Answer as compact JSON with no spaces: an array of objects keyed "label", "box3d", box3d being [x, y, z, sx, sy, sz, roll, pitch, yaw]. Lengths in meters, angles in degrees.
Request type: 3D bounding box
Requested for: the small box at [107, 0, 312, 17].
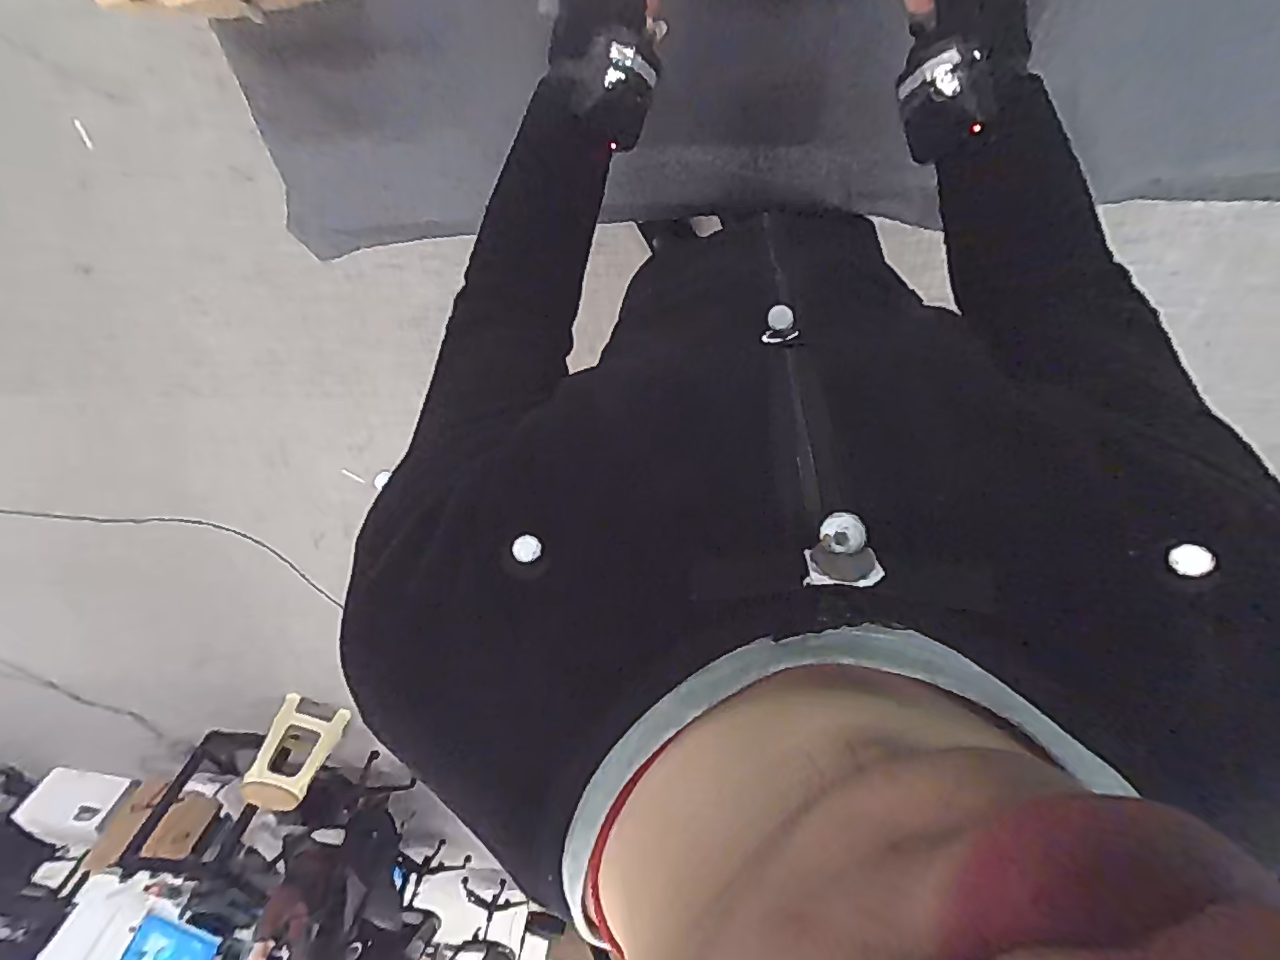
[{"label":"small box","box3d":[-0.377,-0.522,0.461,0.168,0.176,0.179,-3,128,9]}]
